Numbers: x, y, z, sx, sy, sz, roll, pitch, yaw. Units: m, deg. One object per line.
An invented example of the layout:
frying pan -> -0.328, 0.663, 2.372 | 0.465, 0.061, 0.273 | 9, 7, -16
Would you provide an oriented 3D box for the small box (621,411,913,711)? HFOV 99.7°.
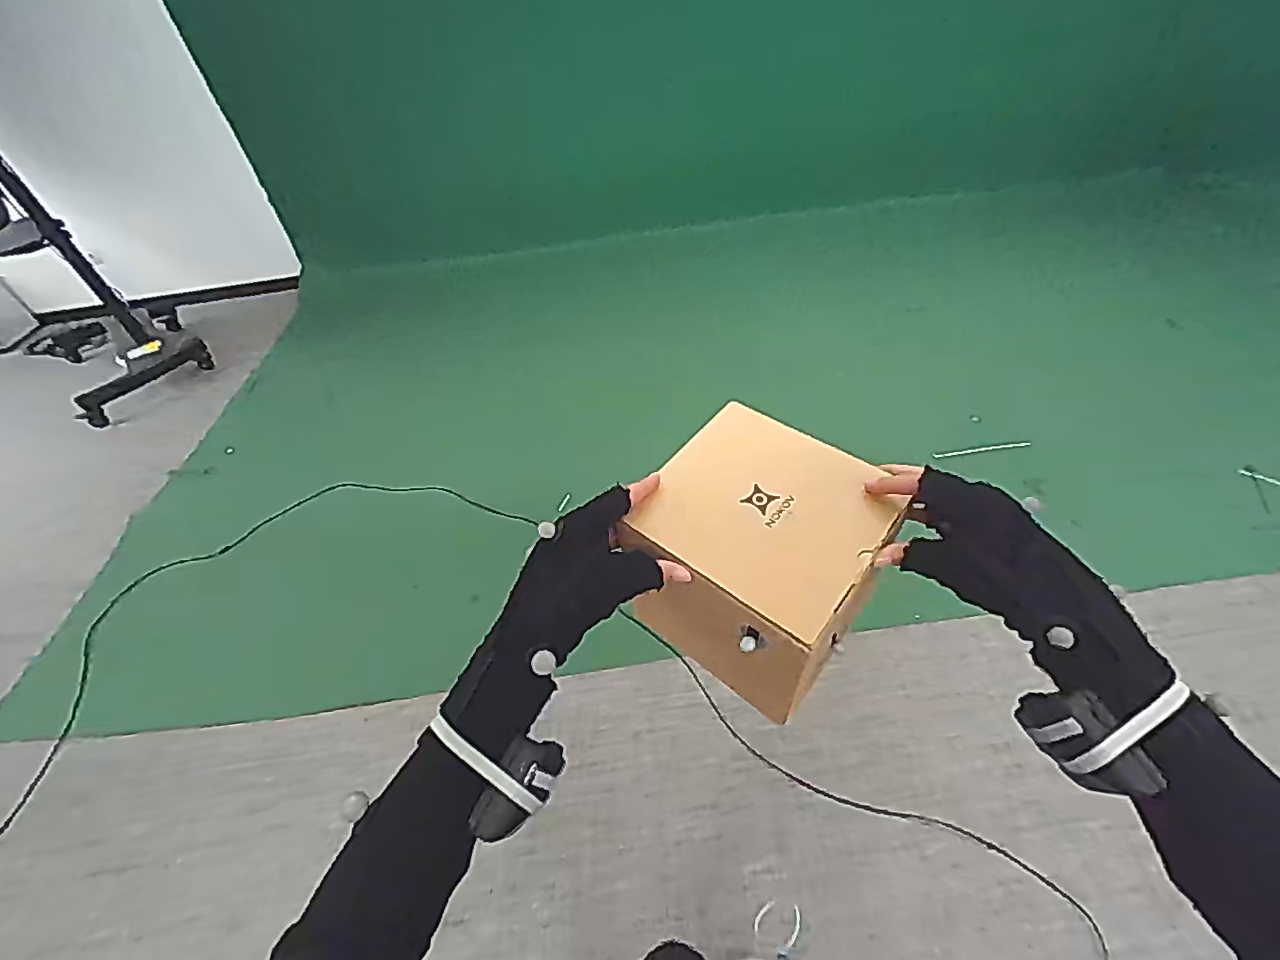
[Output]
small box -> 0.104, 0.074, 0.491 | 0.179, 0.176, 0.168 | 32, 59, 28
